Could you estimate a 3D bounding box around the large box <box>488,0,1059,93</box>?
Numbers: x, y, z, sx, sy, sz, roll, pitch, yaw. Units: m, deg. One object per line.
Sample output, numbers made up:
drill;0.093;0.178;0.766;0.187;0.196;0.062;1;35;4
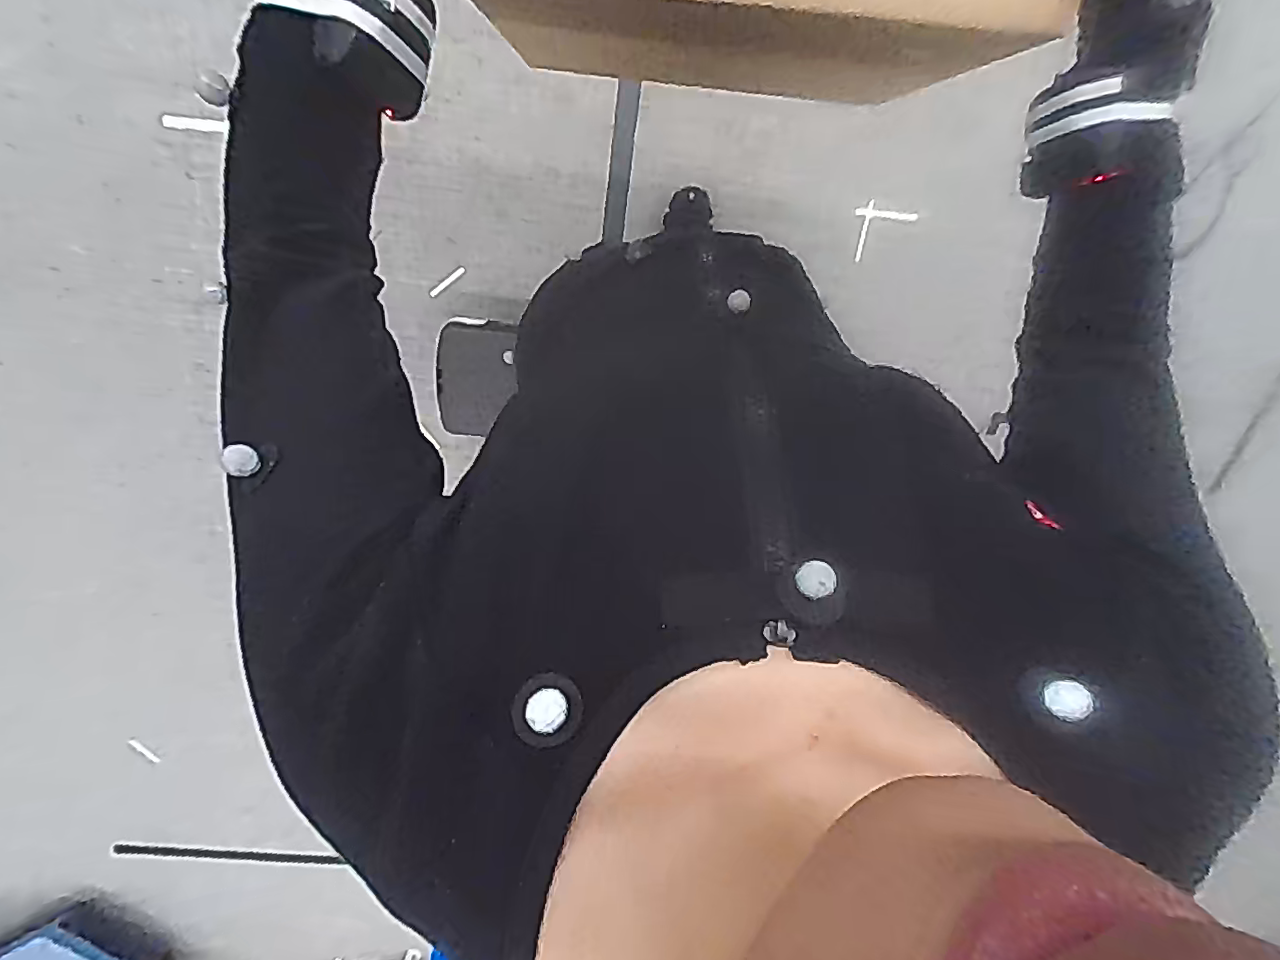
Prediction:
large box;0.085;-0.520;0.413;0.408;0.320;0.320;3;119;-3
